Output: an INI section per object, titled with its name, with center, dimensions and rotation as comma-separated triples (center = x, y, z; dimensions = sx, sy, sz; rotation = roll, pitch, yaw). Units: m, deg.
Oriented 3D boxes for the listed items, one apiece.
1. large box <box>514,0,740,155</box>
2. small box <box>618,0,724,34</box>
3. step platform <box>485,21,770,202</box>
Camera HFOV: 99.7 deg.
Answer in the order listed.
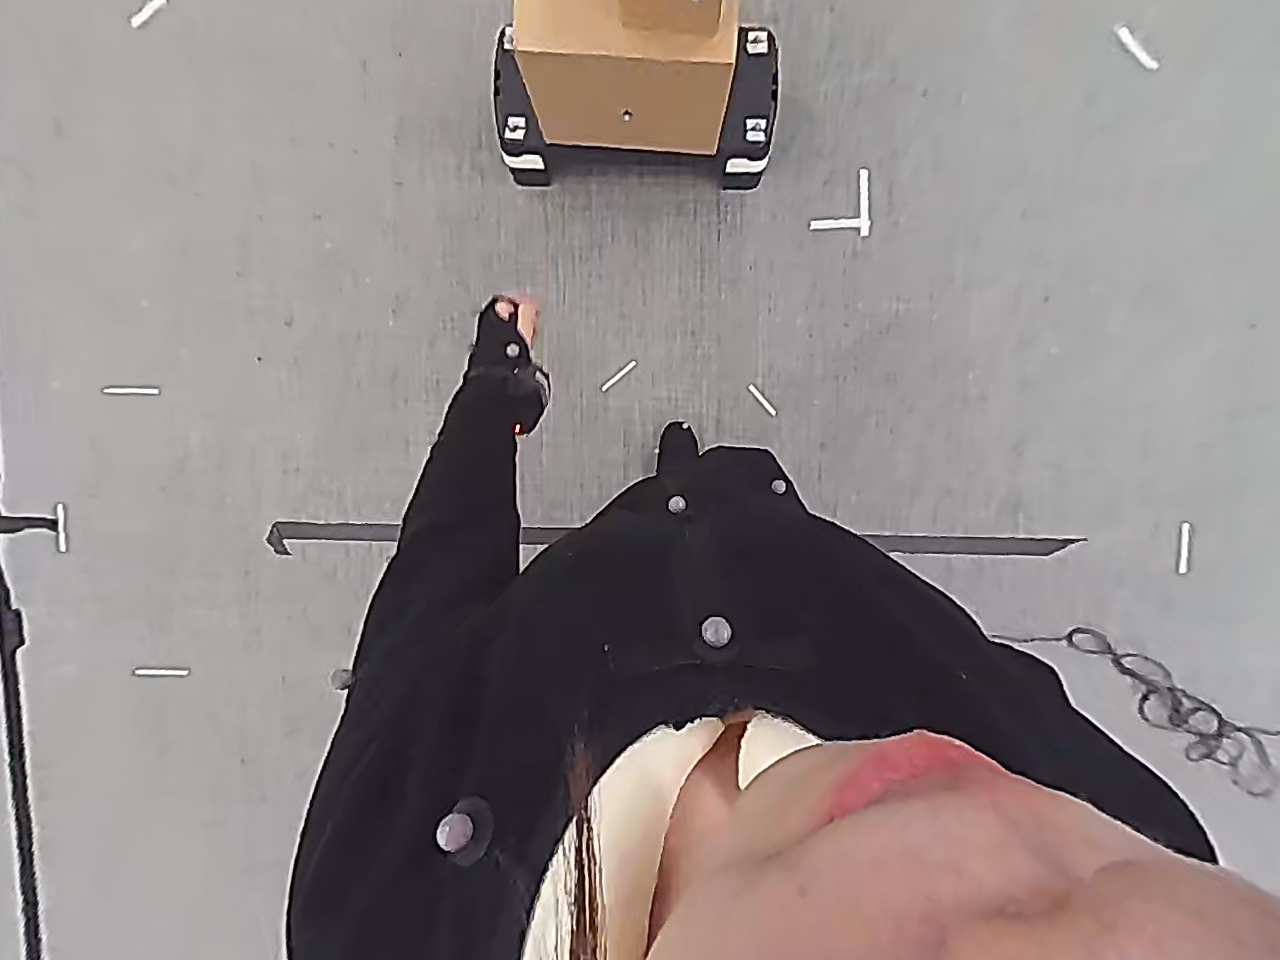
[large box]
center = -0.013, -0.901, 1.101
dimensions = 0.408, 0.320, 0.320
rotation = 4, 93, 2
[small box]
center = 0.059, -0.855, 0.856
dimensions = 0.179, 0.176, 0.168
rotation = 7, 94, 1
[step platform]
center = -0.029, -0.905, 1.340
dimensions = 0.684, 0.204, 0.286
rotation = 6, 94, 2
